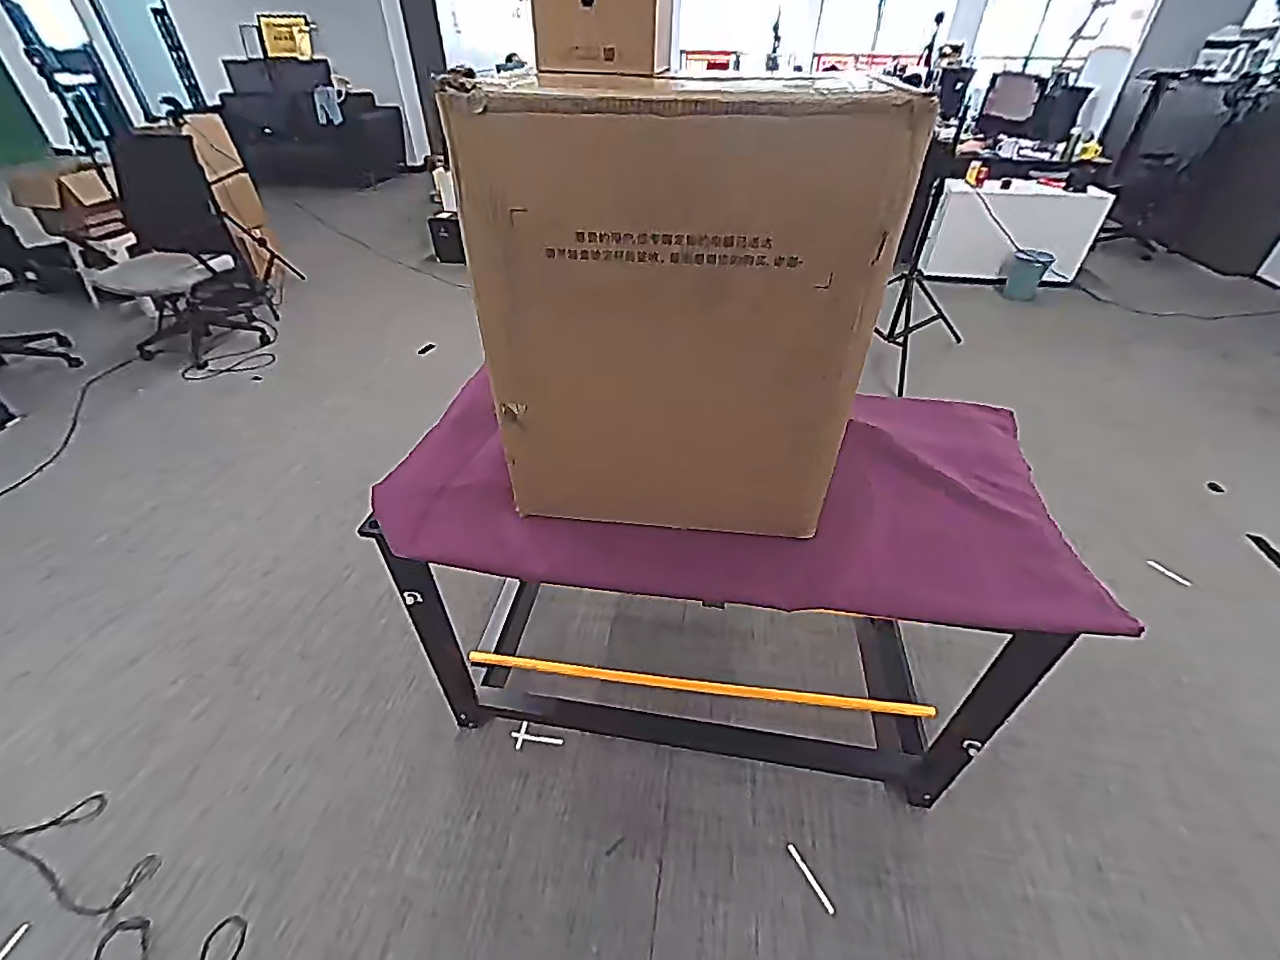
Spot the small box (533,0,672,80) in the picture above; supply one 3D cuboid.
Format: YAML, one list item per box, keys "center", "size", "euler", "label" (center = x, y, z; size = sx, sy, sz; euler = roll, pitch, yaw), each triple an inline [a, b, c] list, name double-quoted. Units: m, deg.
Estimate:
- center: [-0.045, -0.662, 0.747]
  size: [0.168, 0.176, 0.179]
  euler: [8, 40, 7]
  label: "small box"
